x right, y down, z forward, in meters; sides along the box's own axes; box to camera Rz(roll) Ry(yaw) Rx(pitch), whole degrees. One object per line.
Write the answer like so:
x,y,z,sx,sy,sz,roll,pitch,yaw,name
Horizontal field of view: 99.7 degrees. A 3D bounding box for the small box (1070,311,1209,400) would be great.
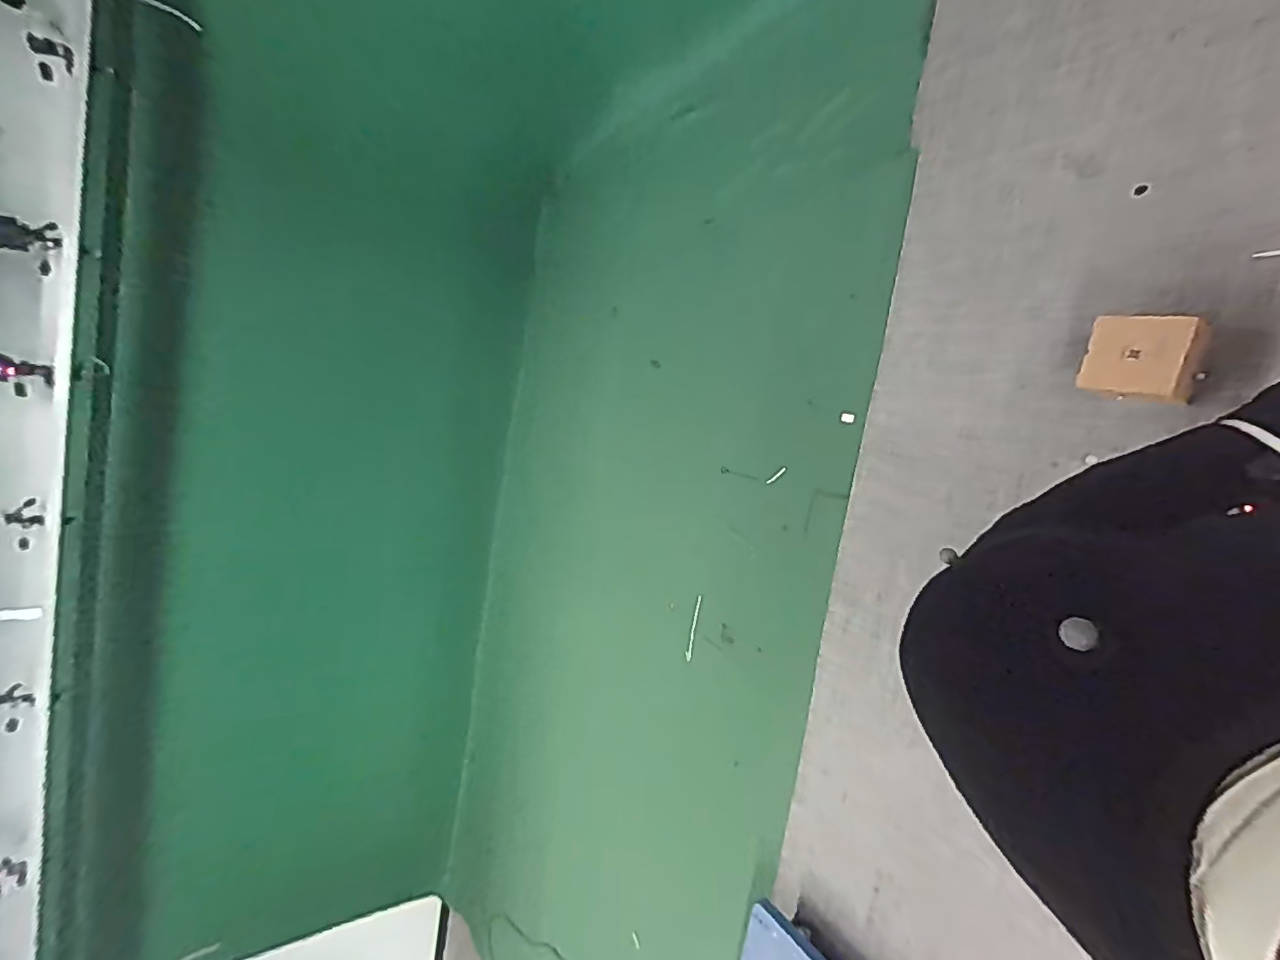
1.140,-0.283,1.235,0.179,0.176,0.168,25,107,52,small box
